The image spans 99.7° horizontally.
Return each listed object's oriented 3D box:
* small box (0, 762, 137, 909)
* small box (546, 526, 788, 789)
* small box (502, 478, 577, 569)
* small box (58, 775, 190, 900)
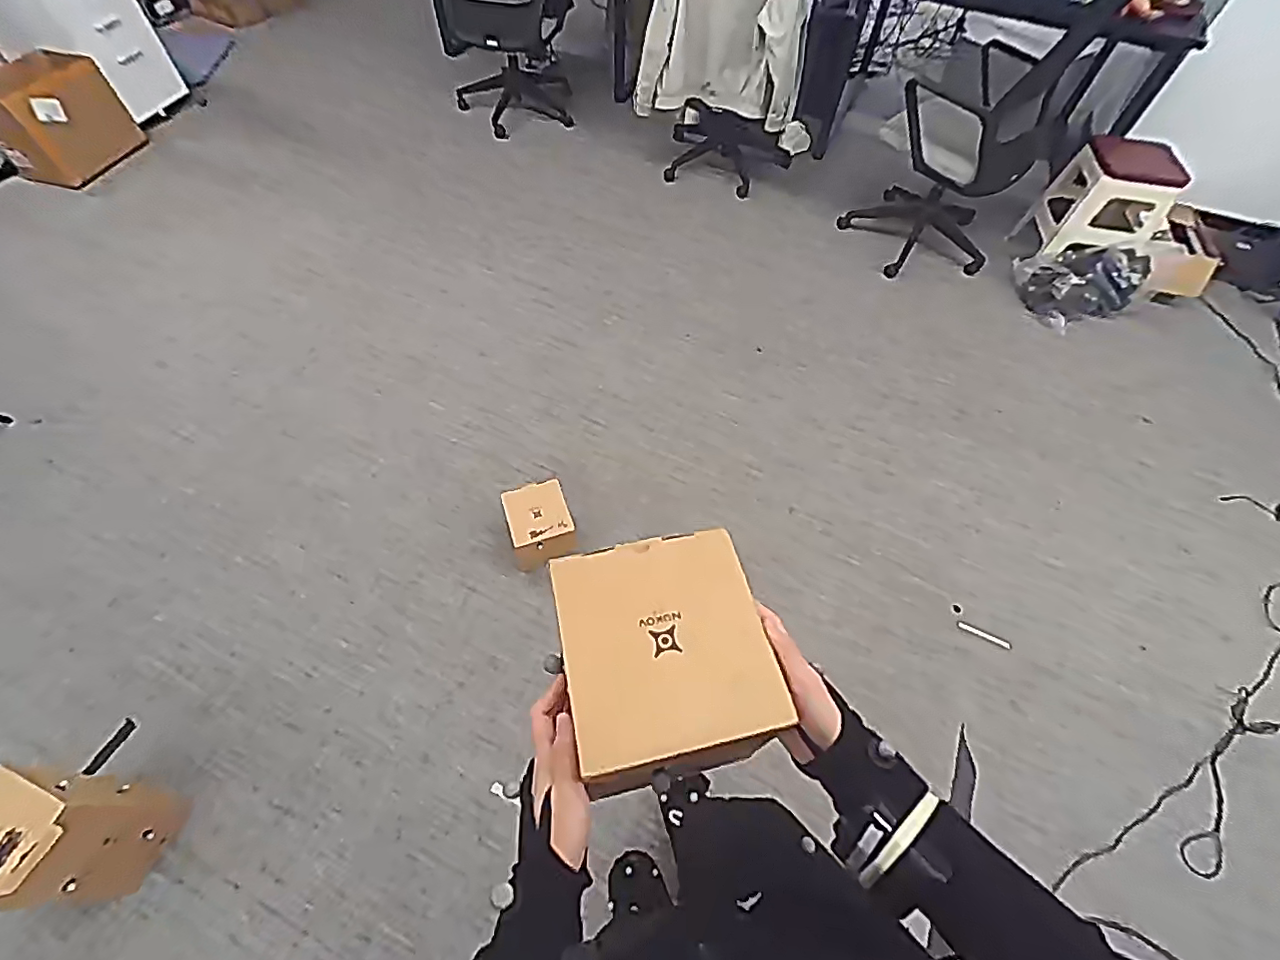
[{"bbox_3d":[-1.097,0.639,0.985,0.179,0.176,0.168,20,59,10],"label":"small box"},{"bbox_3d":[0.013,0.170,0.502,0.168,0.176,0.179,-10,55,-10],"label":"small box"},{"bbox_3d":[-0.283,0.126,1.538,0.168,0.176,0.179,-16,60,-13],"label":"small box"},{"bbox_3d":[-1.106,0.731,1.122,0.179,0.176,0.168,19,58,10],"label":"small box"}]
